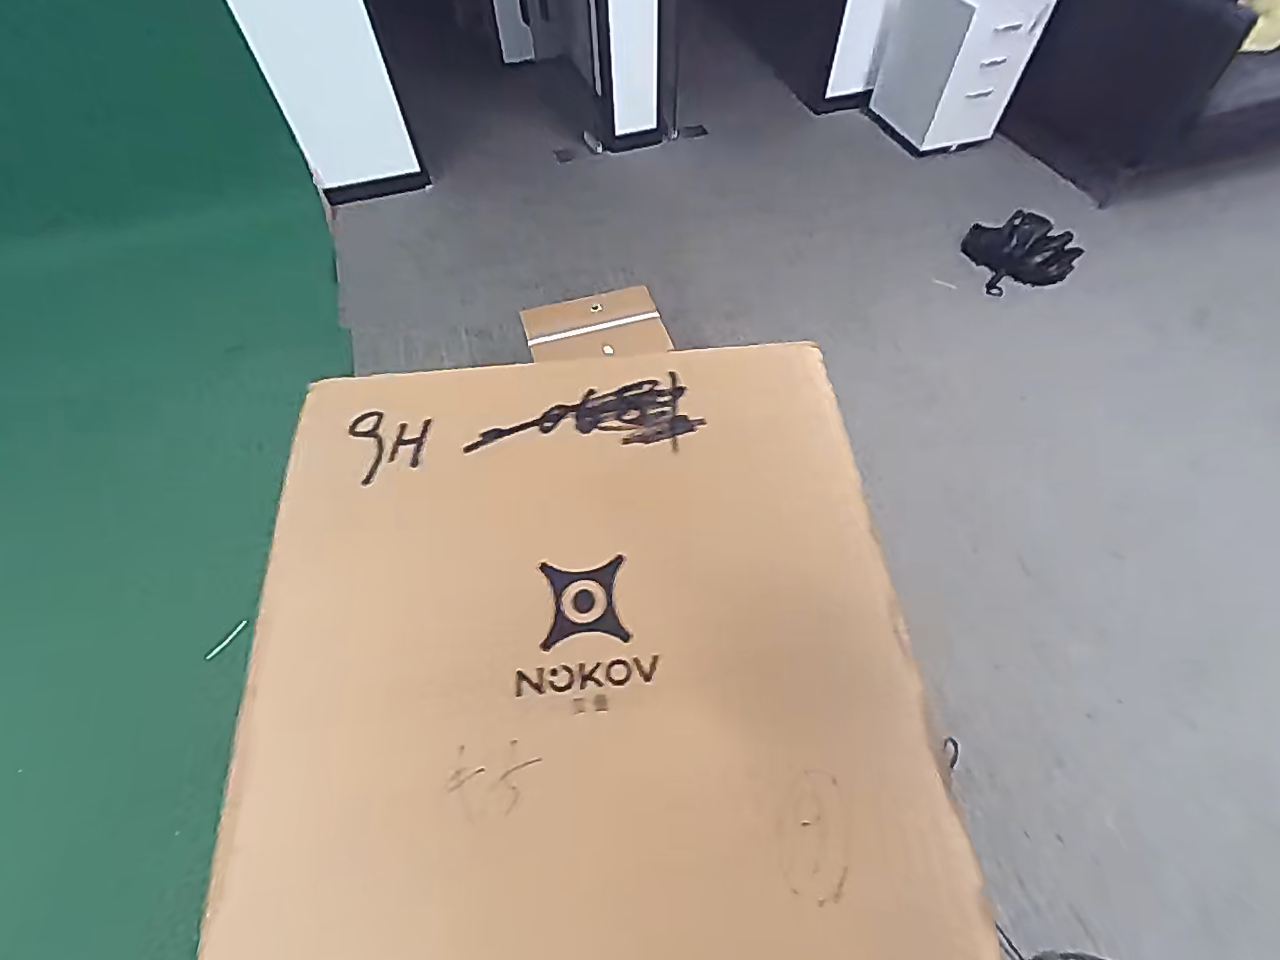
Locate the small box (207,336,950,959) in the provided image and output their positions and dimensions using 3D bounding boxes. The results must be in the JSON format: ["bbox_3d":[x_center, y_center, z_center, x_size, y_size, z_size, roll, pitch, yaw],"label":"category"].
[{"bbox_3d":[-0.019,0.070,0.219,0.168,0.176,0.179,-6,67,-2],"label":"small box"}]
